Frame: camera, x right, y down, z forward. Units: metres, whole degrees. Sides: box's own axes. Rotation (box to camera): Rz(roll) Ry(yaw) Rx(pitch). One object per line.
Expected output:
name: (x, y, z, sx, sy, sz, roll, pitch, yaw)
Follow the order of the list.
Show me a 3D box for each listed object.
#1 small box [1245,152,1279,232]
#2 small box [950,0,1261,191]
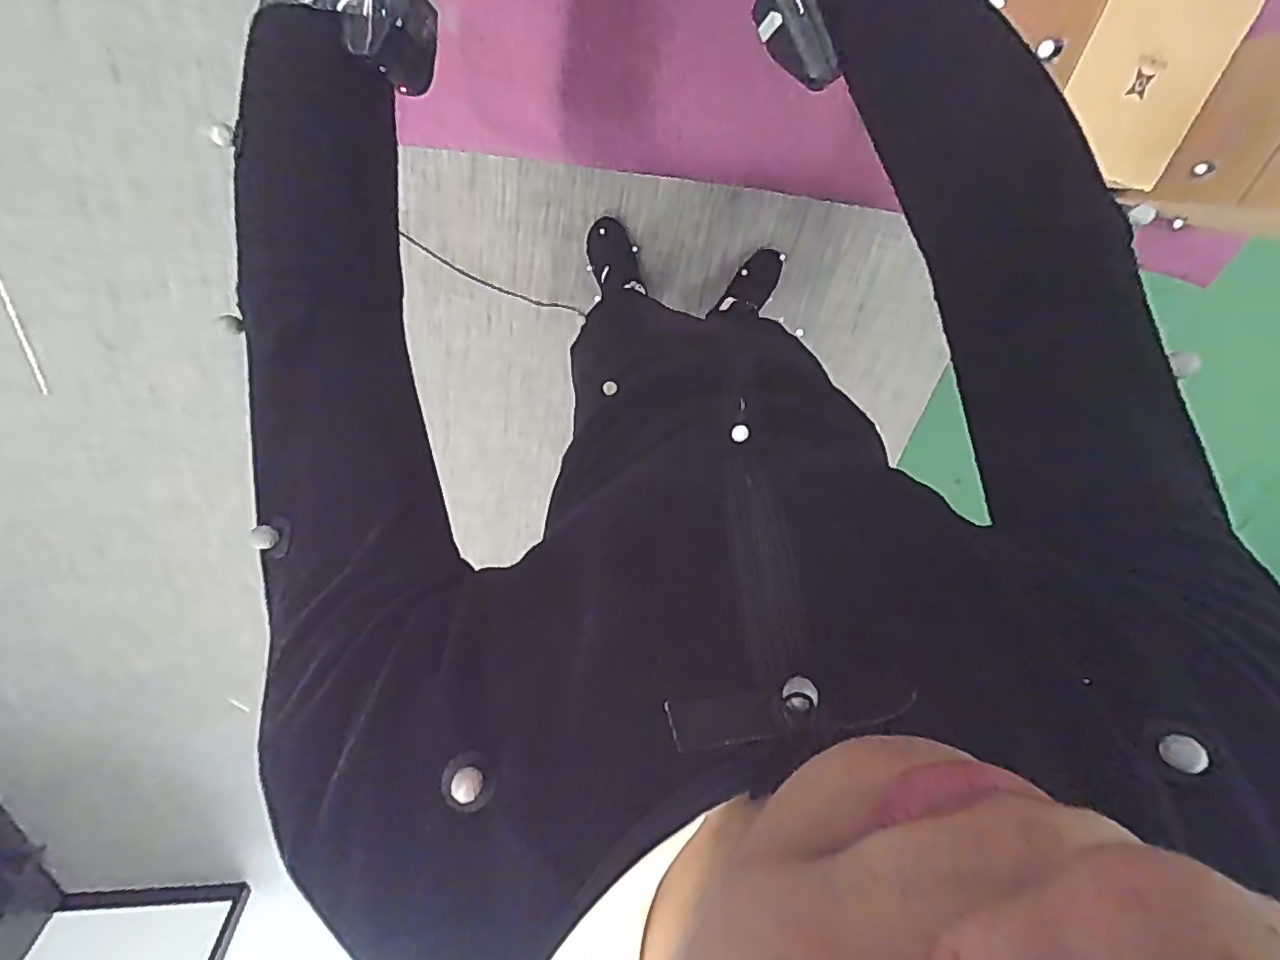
small box: (0.790, -0.325, 0.530, 0.168, 0.176, 0.179, 9, 119, -12)
small box: (0.495, -0.446, 0.613, 0.168, 0.176, 0.179, 7, 119, -12)
